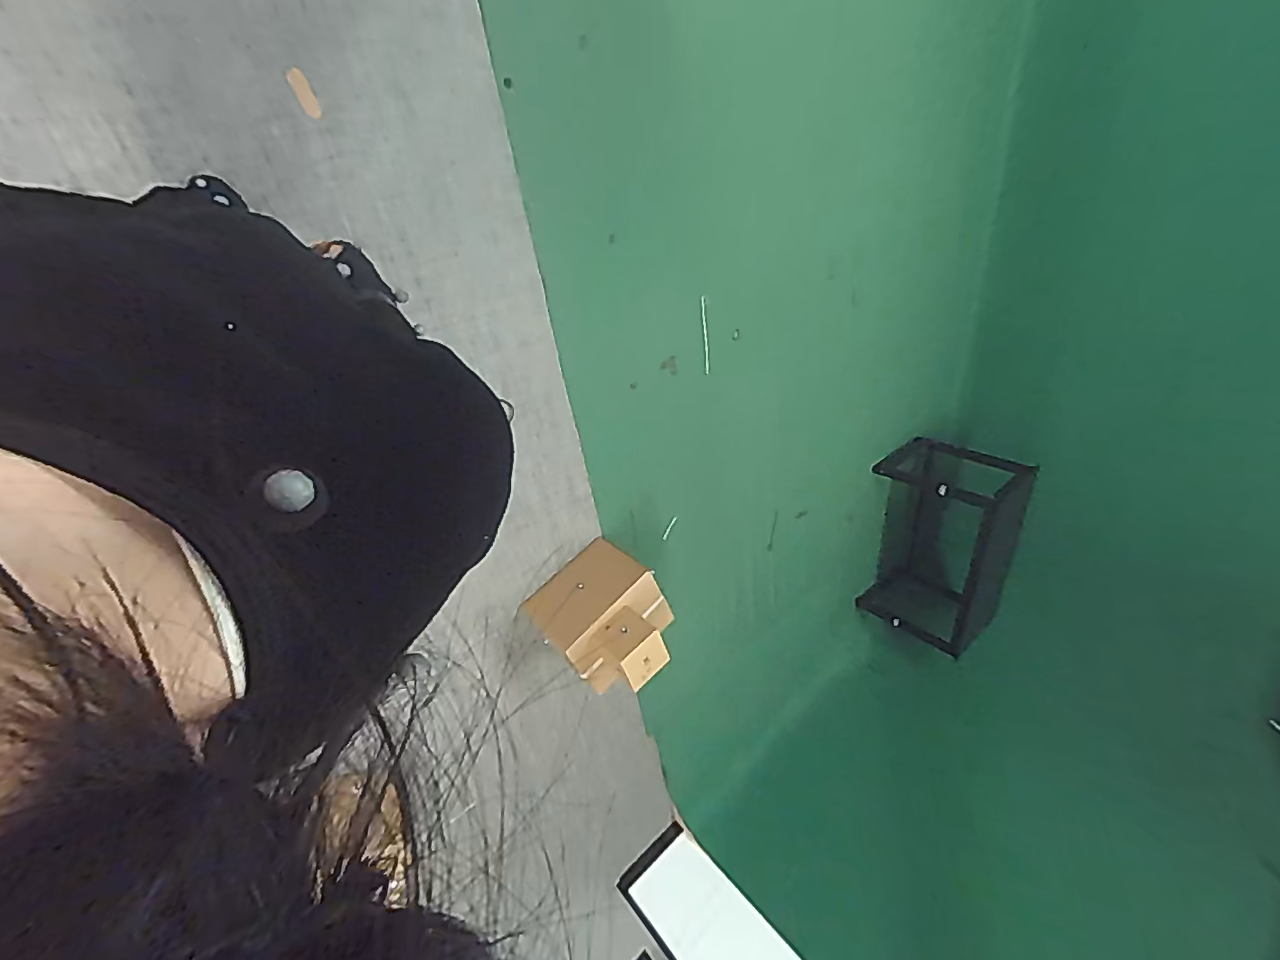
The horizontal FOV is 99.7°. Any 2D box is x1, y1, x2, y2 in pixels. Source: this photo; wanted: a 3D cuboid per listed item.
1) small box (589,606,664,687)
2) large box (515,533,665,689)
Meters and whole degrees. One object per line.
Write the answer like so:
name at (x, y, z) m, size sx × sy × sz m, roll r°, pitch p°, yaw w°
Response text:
small box at (-0.050, 0.554, 1.828) m, size 0.168 × 0.176 × 0.179 m, roll -36°, pitch 130°, yaw -24°
large box at (-0.182, 0.480, 2.028) m, size 0.408 × 0.320 × 0.320 m, roll -43°, pitch 134°, yaw -22°
